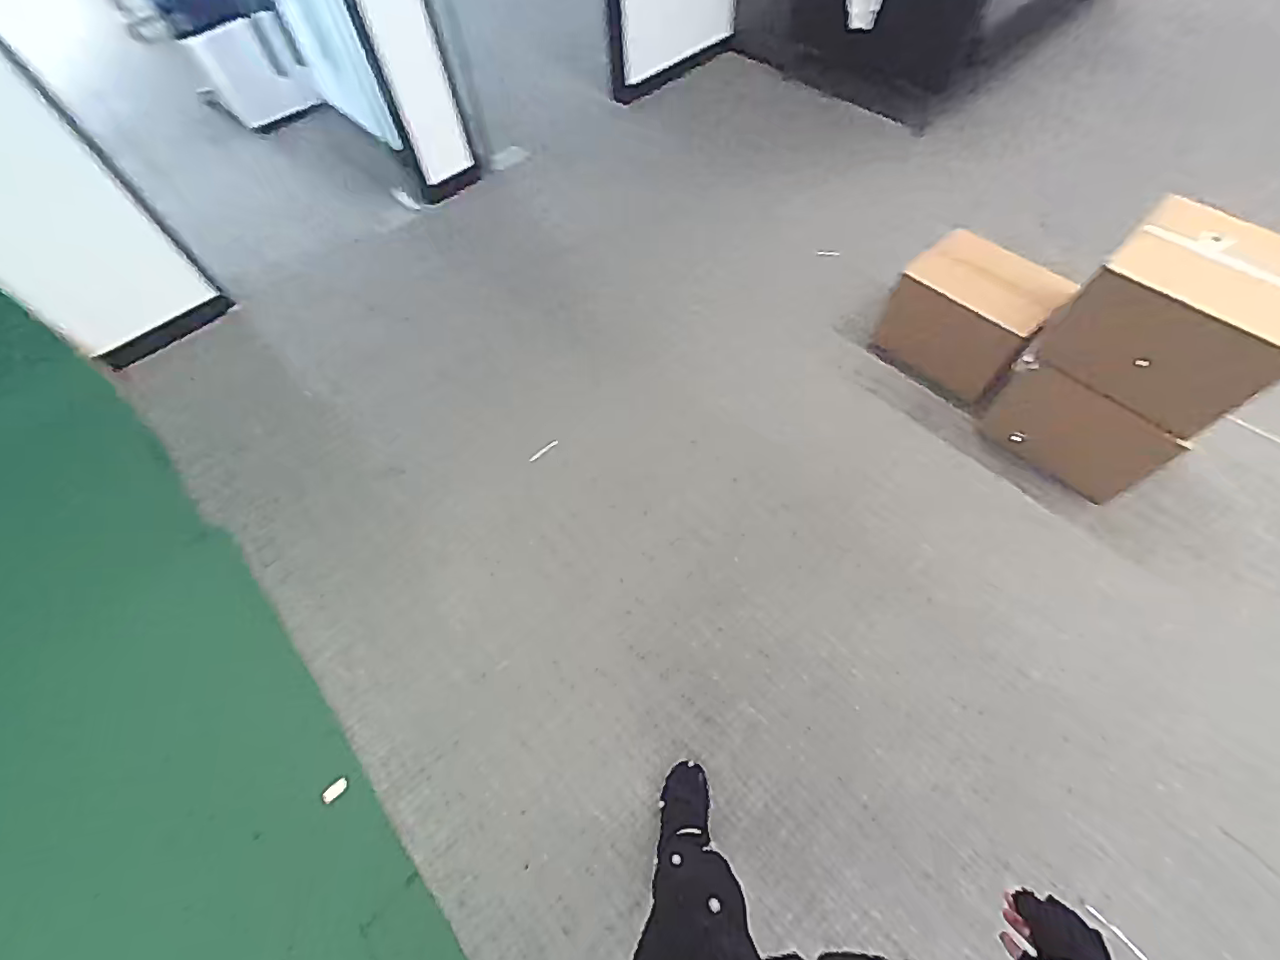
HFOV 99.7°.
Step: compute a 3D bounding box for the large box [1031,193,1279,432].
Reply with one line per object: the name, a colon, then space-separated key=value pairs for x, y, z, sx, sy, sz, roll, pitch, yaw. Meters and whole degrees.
large box: x=1.277 y=-0.392 z=1.286 sx=0.320 sy=0.320 sz=0.408 roll=-42 pitch=65 yaw=-14
